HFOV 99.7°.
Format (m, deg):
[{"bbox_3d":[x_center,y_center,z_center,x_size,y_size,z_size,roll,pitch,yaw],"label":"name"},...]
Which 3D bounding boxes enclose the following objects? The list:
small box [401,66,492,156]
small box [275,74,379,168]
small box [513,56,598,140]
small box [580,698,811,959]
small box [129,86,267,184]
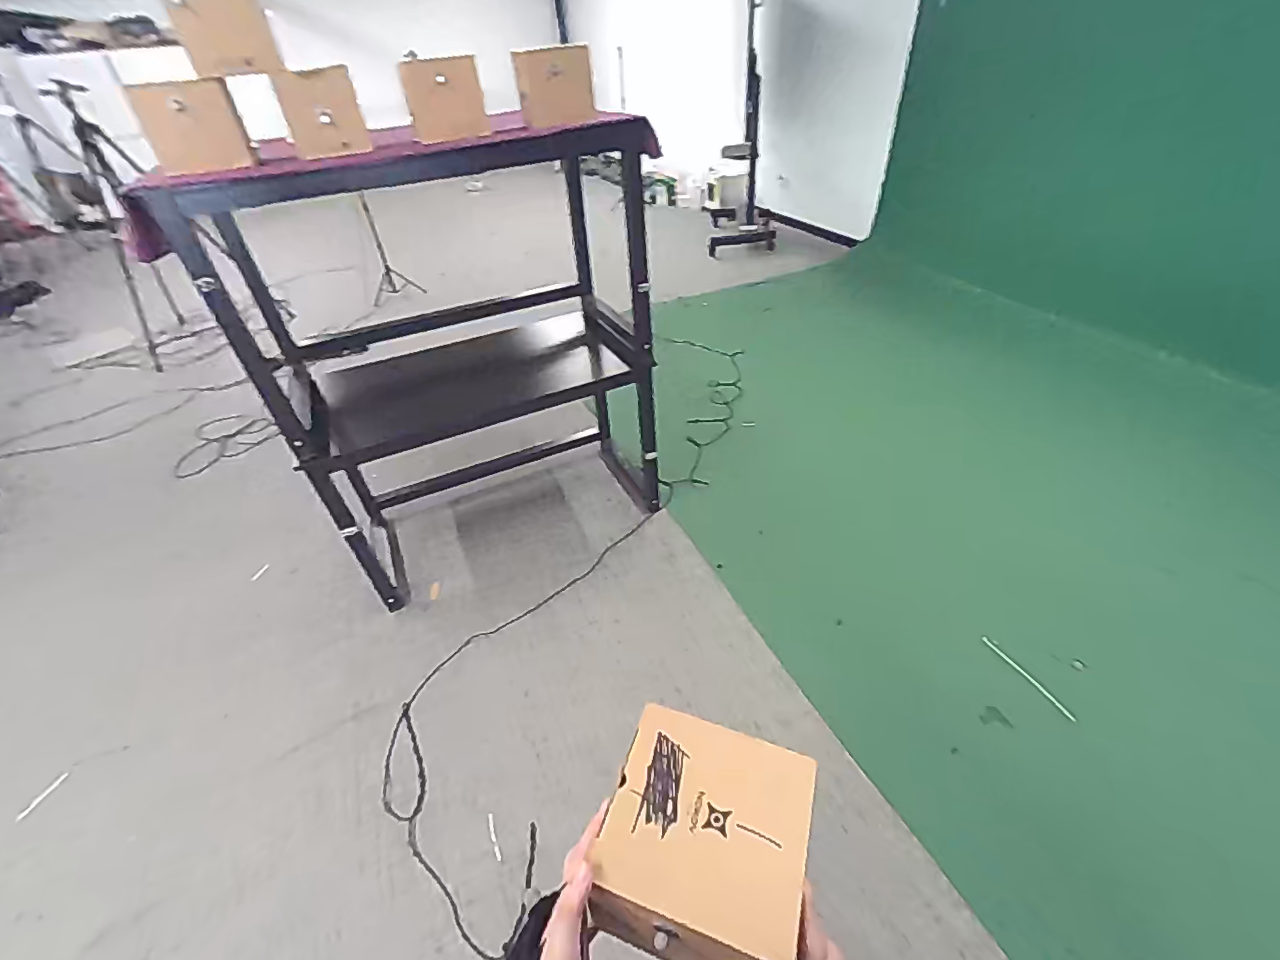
[{"bbox_3d":[-0.488,-0.944,1.380,0.179,0.176,0.168,-20,40,-16],"label":"small box"},{"bbox_3d":[-0.743,-0.857,1.295,0.168,0.176,0.179,-19,41,-18],"label":"small box"},{"bbox_3d":[-0.225,-1.031,1.459,0.179,0.176,0.168,-17,42,-14],"label":"small box"},{"bbox_3d":[0.057,0.354,0.535,0.179,0.176,0.168,13,41,15],"label":"small box"},{"bbox_3d":[-0.979,-0.777,1.217,0.179,0.176,0.168,-19,41,-19],"label":"small box"}]
